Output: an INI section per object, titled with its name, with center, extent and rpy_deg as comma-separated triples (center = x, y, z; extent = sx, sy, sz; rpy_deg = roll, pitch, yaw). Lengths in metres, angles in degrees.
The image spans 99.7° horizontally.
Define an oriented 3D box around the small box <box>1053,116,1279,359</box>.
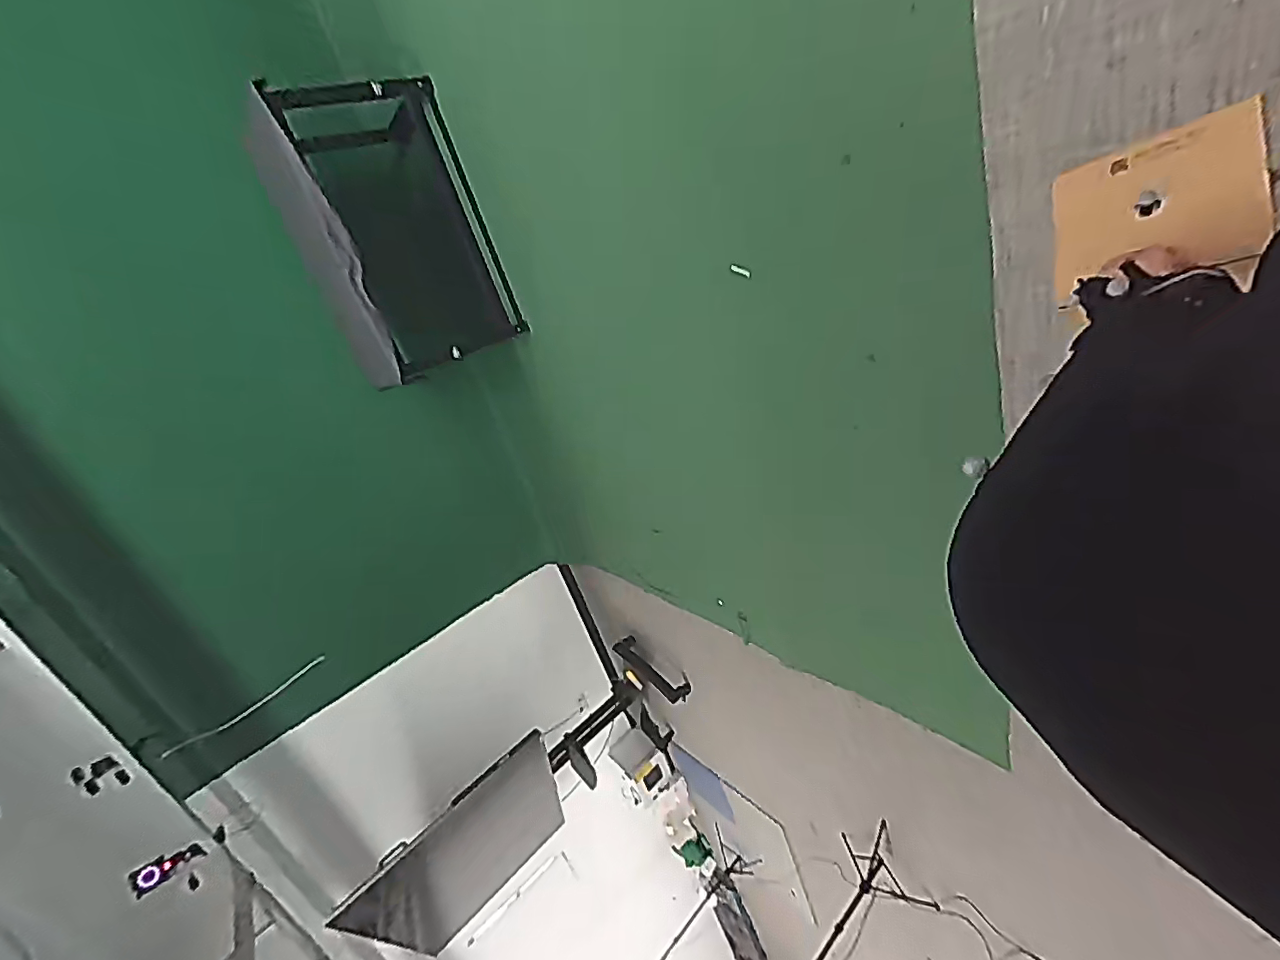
[small box]
center = 0.596, -0.266, 0.617
extent = 0.168, 0.179, 0.176
rpy_deg = -9, 71, 50
